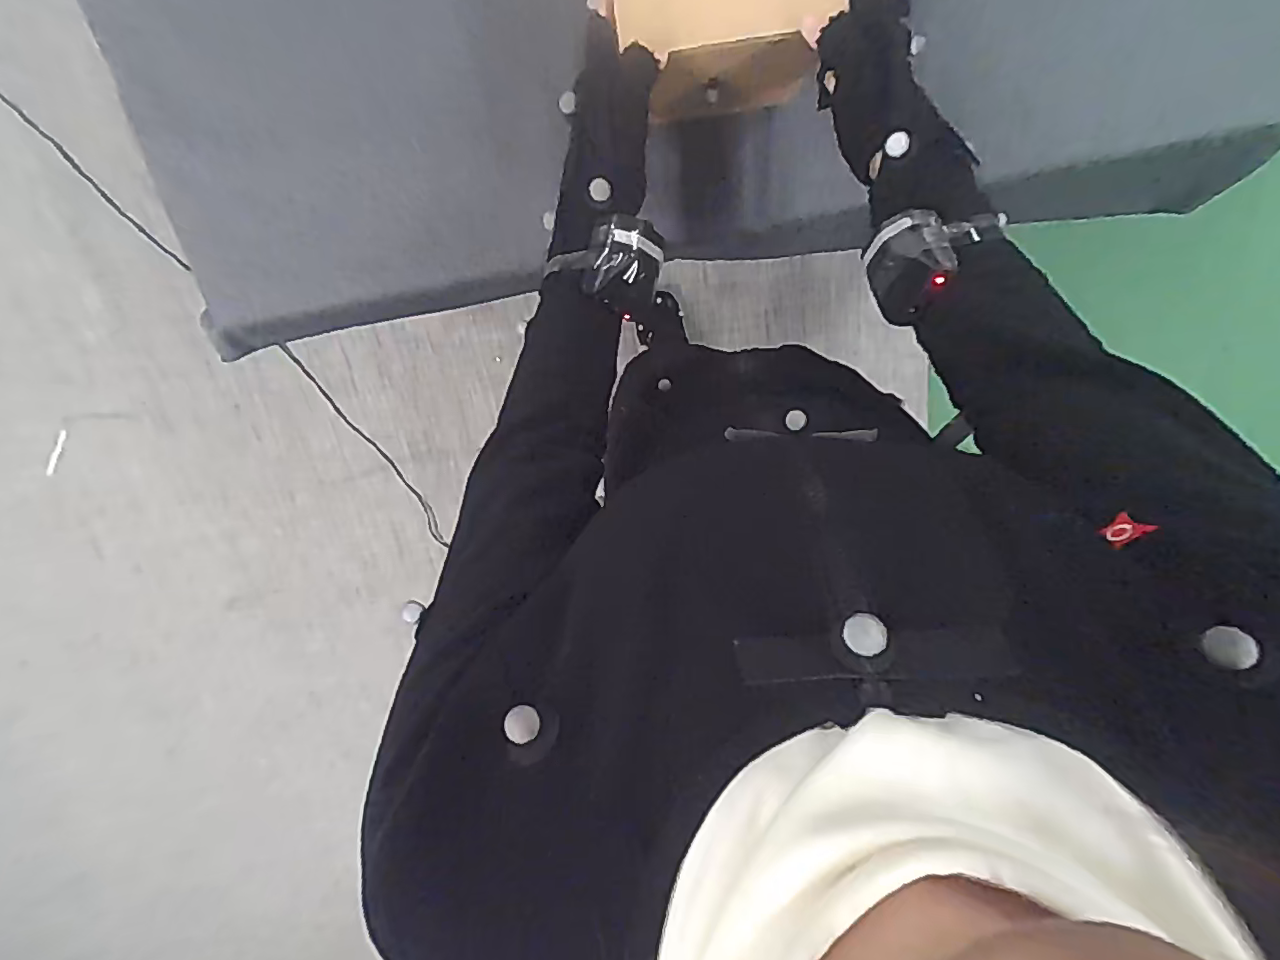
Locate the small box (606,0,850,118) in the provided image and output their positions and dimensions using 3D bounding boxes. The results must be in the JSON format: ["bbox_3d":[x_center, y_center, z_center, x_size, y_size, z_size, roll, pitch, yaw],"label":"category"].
[{"bbox_3d":[0.059,-0.431,0.454,0.179,0.176,0.168,-8,109,2],"label":"small box"}]
